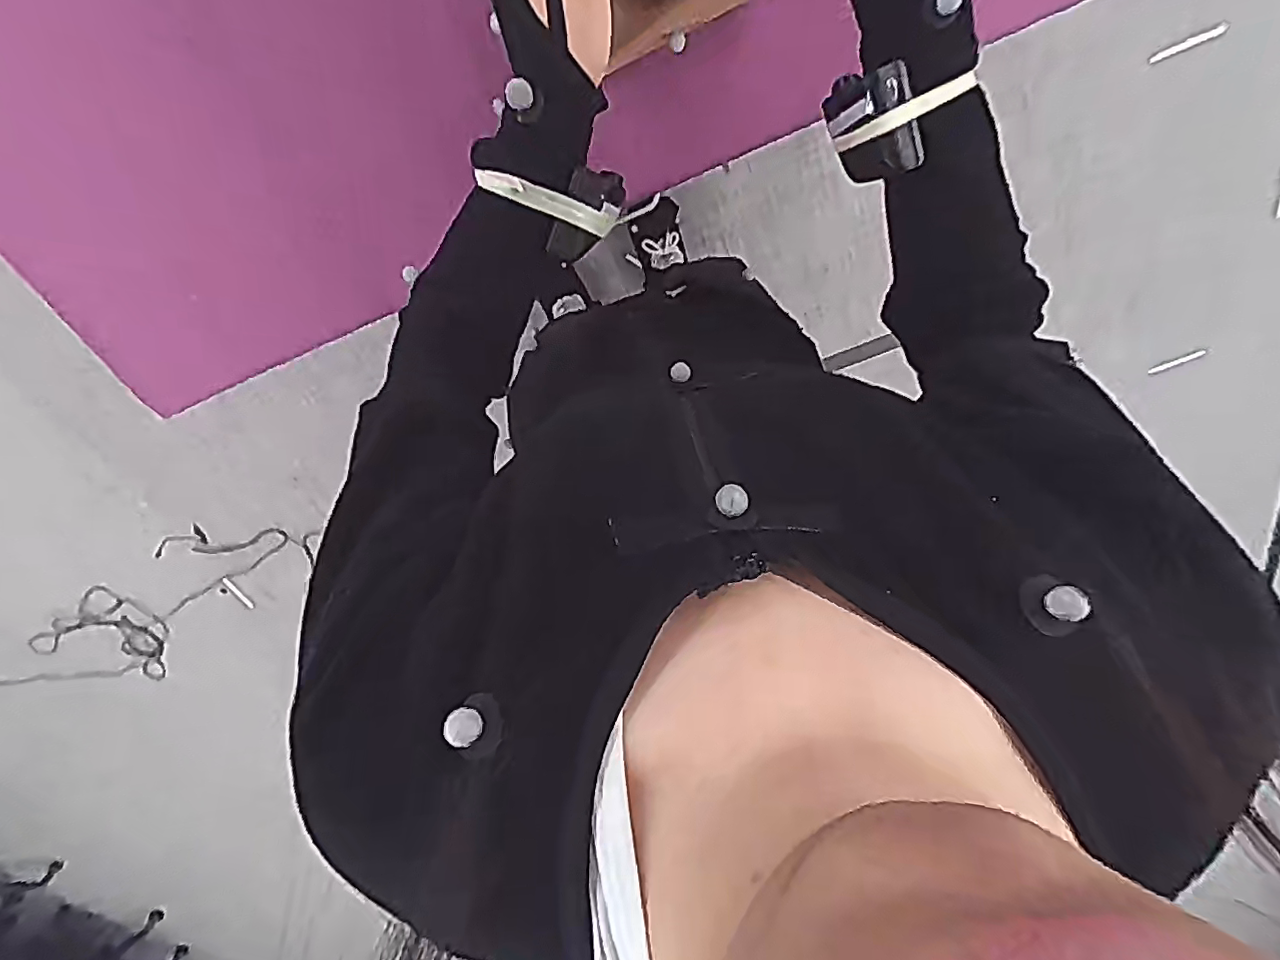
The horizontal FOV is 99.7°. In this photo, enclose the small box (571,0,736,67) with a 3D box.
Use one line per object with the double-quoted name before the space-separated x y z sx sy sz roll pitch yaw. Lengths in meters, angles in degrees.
"small box" 0.002 -0.481 0.438 0.168 0.176 0.179 -22 118 8
